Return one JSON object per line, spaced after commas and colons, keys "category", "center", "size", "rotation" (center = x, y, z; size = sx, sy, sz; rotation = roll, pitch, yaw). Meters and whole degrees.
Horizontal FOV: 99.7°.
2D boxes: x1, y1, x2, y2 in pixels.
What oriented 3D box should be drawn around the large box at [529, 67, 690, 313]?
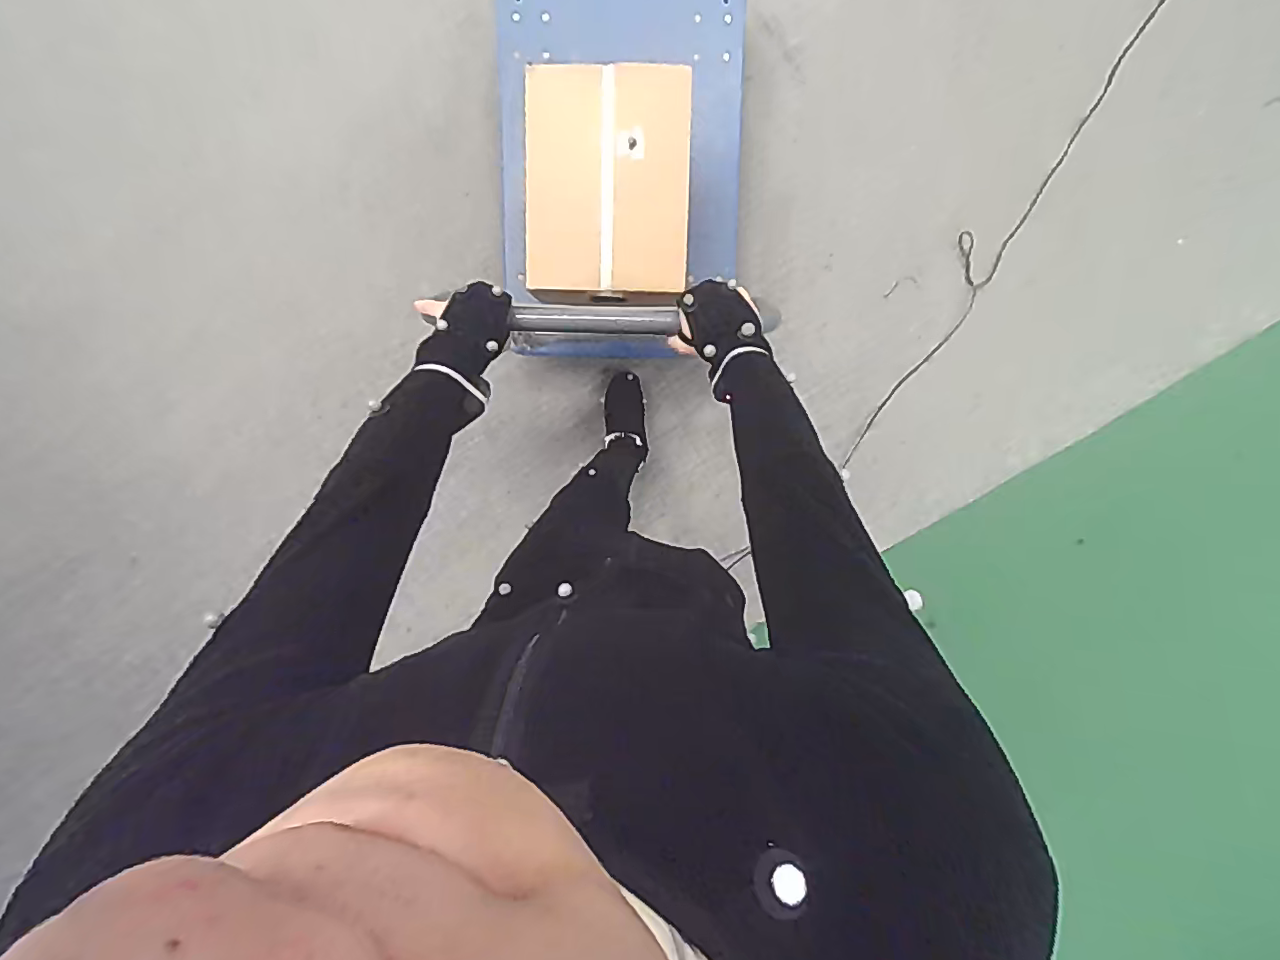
{"category": "large box", "center": [-0.057, -0.599, 1.193], "size": [0.320, 0.320, 0.408], "rotation": [2, 98, 1]}
